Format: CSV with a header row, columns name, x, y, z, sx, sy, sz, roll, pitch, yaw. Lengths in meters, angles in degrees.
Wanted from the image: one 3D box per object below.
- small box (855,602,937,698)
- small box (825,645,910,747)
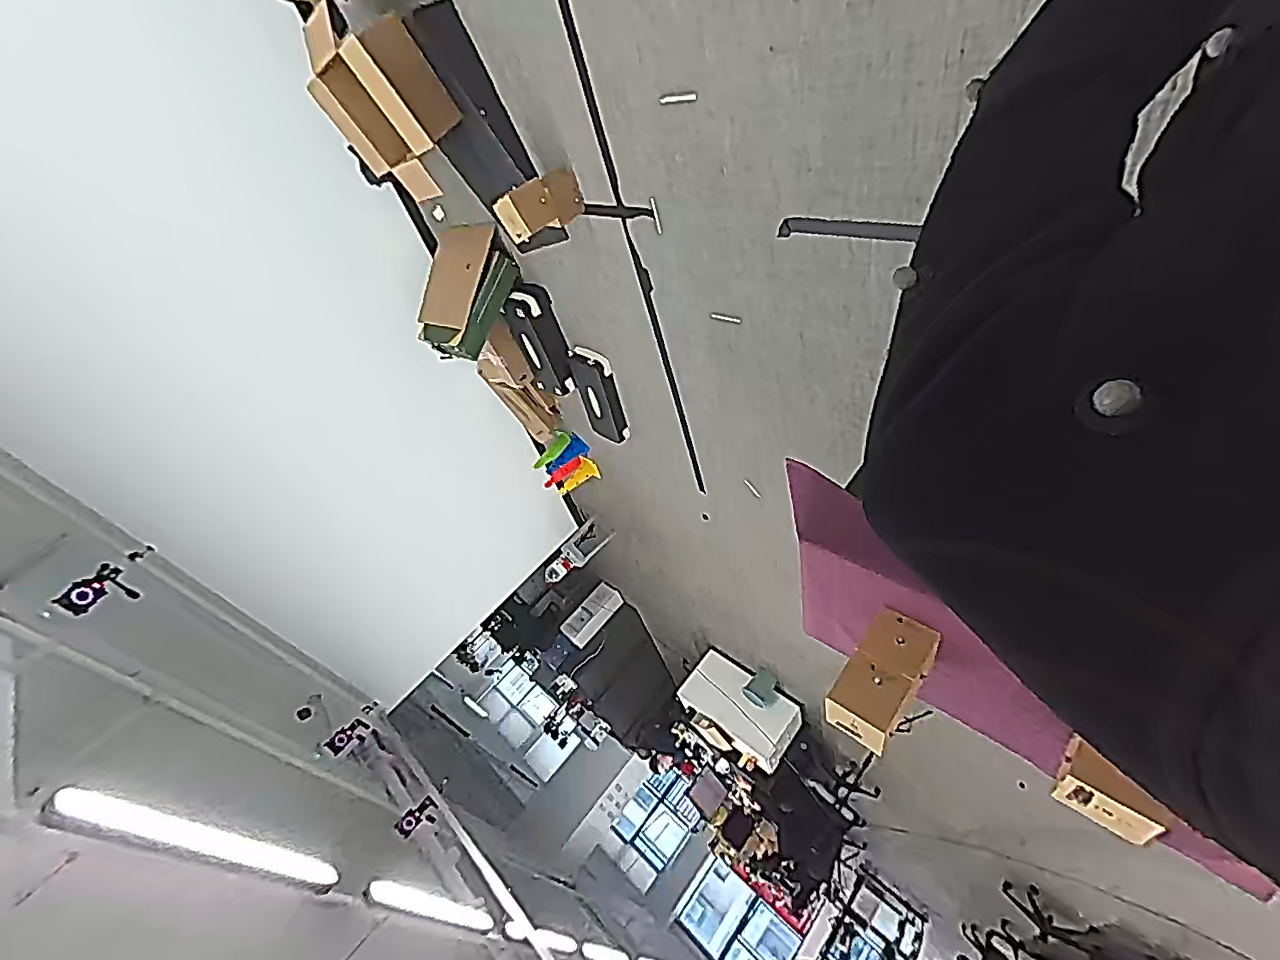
name,x,y,z,sx,sy,sz,roll,pitch,yaw
small box,0.738,0.486,1.566,0.168,0.176,0.179,26,151,37
small box,0.633,0.599,1.509,0.168,0.176,0.179,26,150,36
